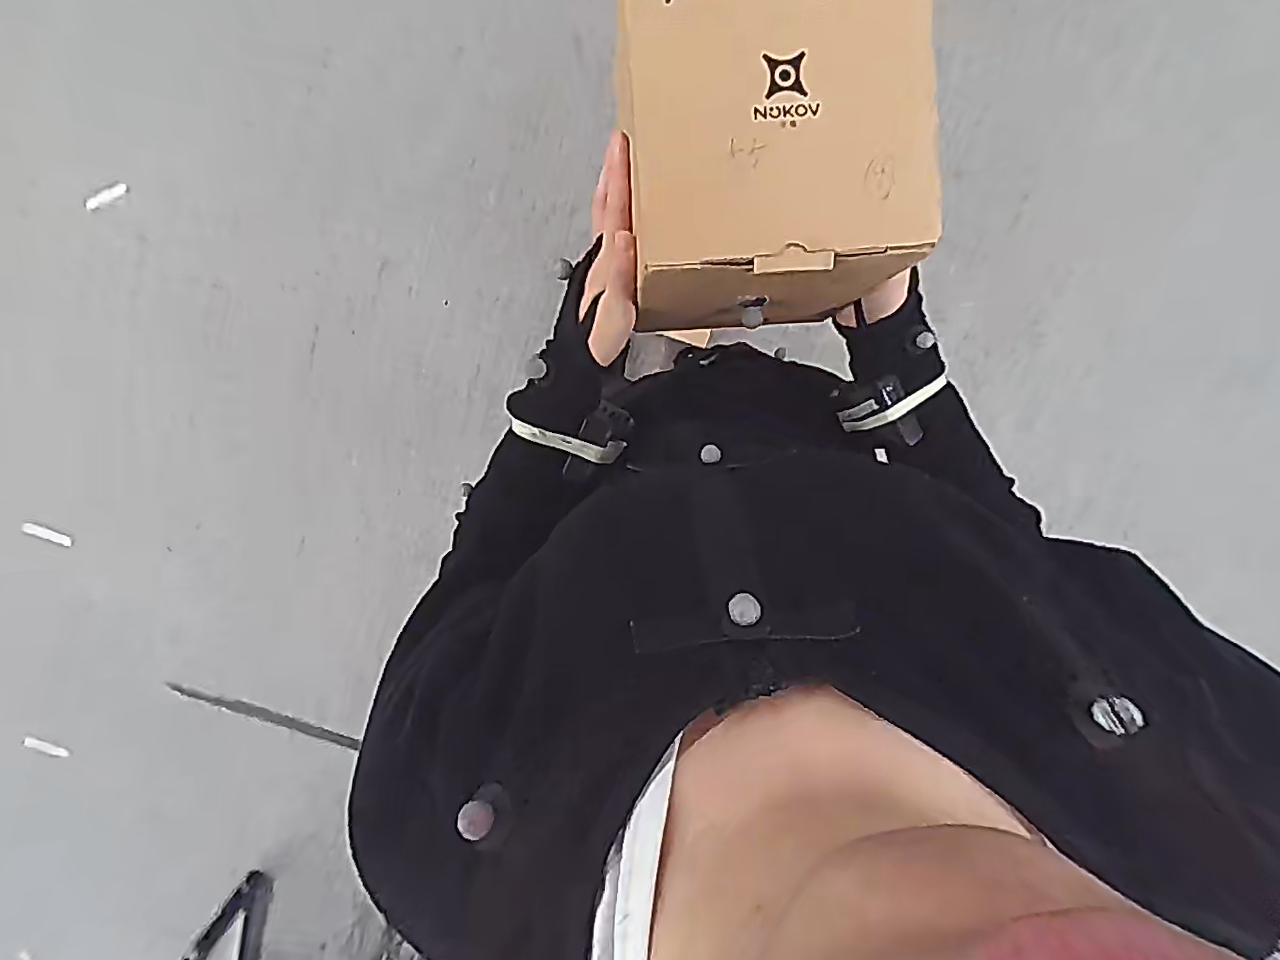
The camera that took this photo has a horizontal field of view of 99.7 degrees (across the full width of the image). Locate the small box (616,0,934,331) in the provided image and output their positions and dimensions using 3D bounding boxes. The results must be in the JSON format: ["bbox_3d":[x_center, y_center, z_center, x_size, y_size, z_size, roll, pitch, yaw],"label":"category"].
[{"bbox_3d":[0.073,-0.204,0.370,0.168,0.176,0.179,-5,95,-2],"label":"small box"}]

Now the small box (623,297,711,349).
[{"bbox_3d":[0.076,-0.383,1.150,0.179,0.176,0.168,18,106,-2],"label":"small box"}]
